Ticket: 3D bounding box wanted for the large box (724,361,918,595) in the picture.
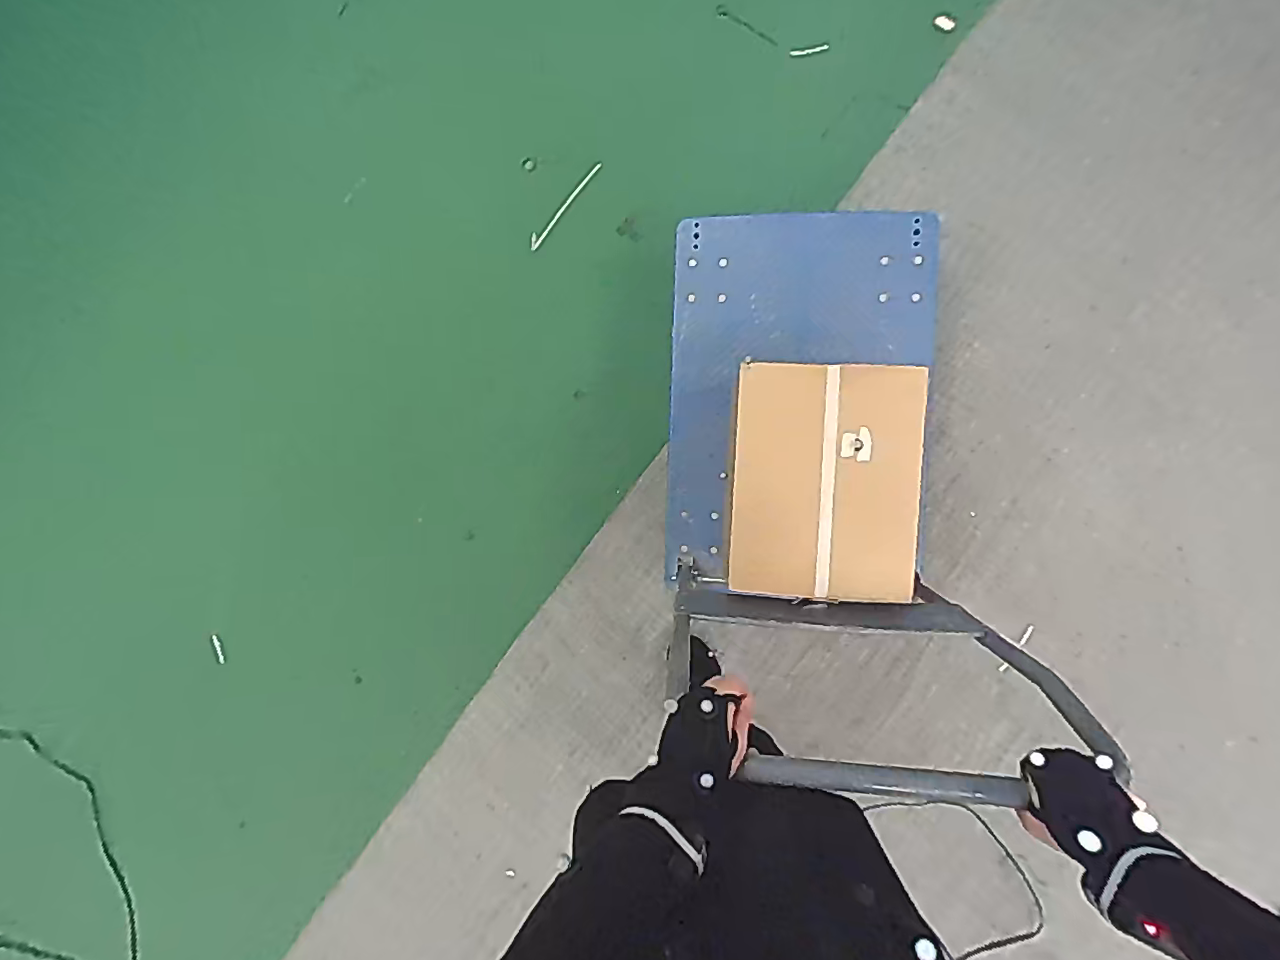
[{"bbox_3d":[0.331,-0.006,1.080,0.320,0.320,0.408,3,91,6],"label":"large box"}]
